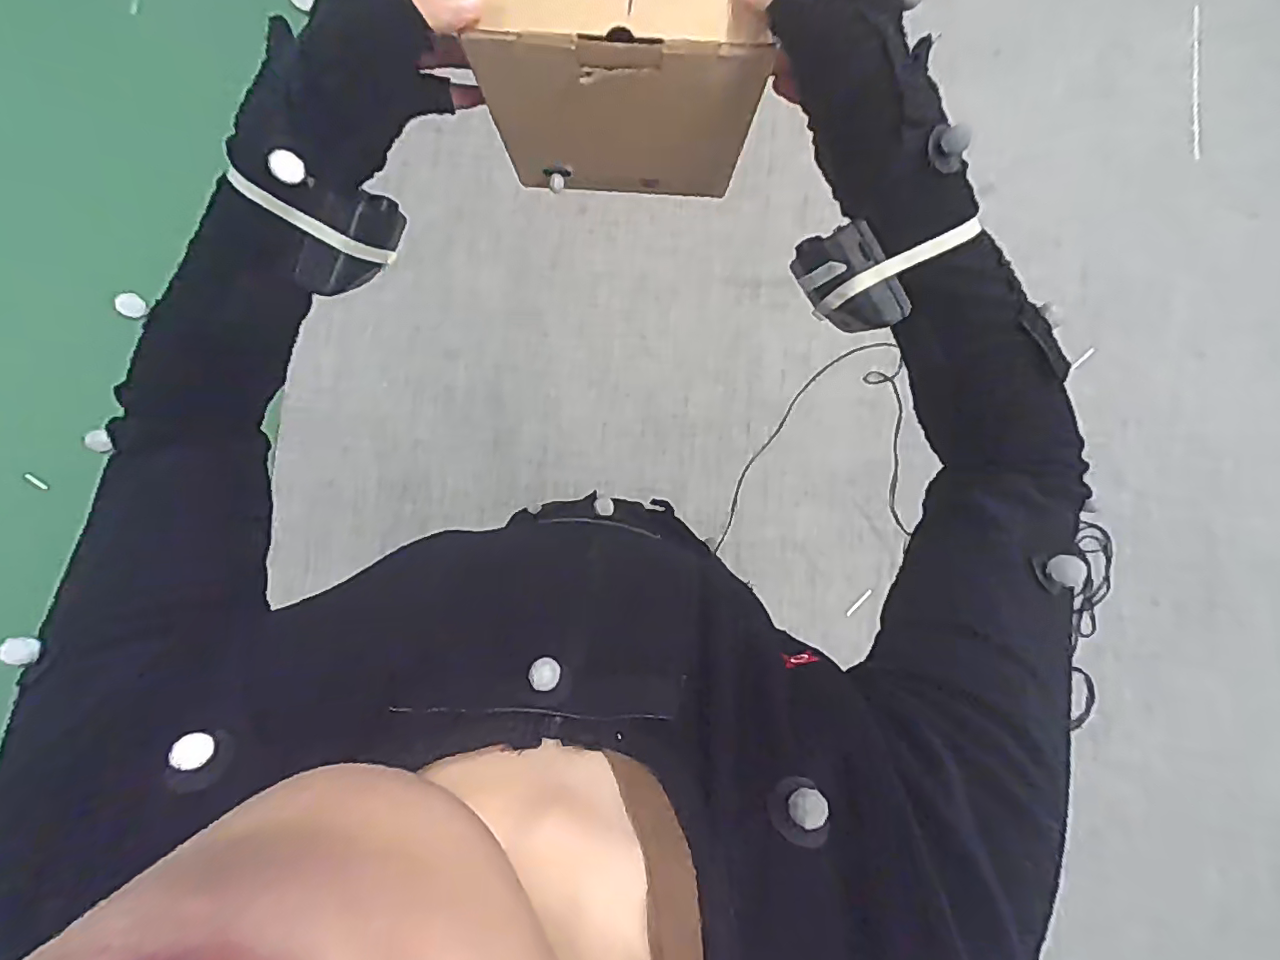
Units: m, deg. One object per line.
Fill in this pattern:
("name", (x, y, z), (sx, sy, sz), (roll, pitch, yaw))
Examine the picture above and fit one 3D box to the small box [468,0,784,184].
("small box", (-0.005, -0.319, 0.352), (0.168, 0.176, 0.179), (2, 93, -1))
